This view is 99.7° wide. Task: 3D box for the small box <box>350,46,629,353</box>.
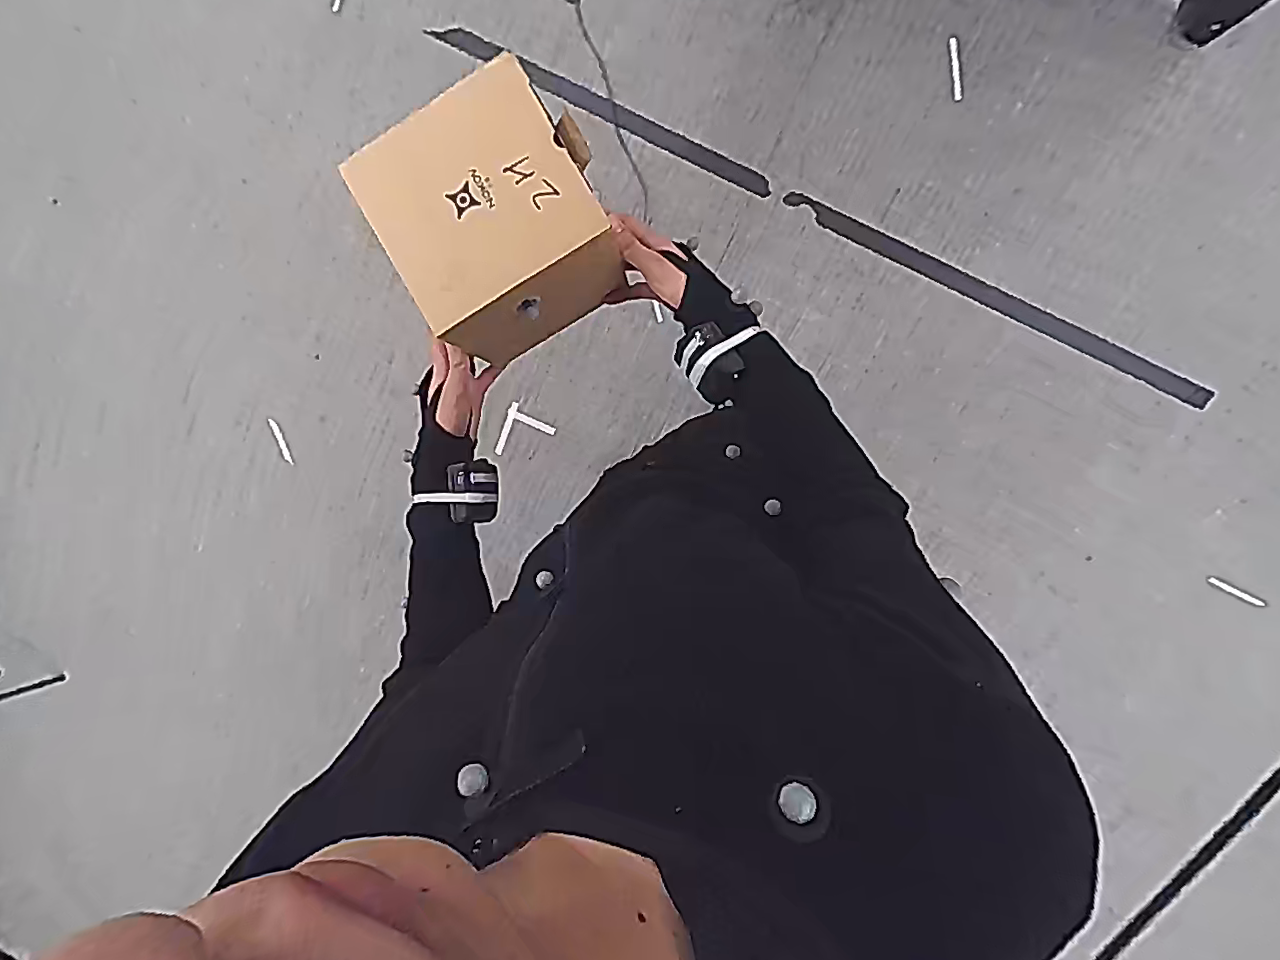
[{"bbox_3d":[-0.125,-0.244,0.523,0.179,0.176,0.168,-29,91,4],"label":"small box"}]
